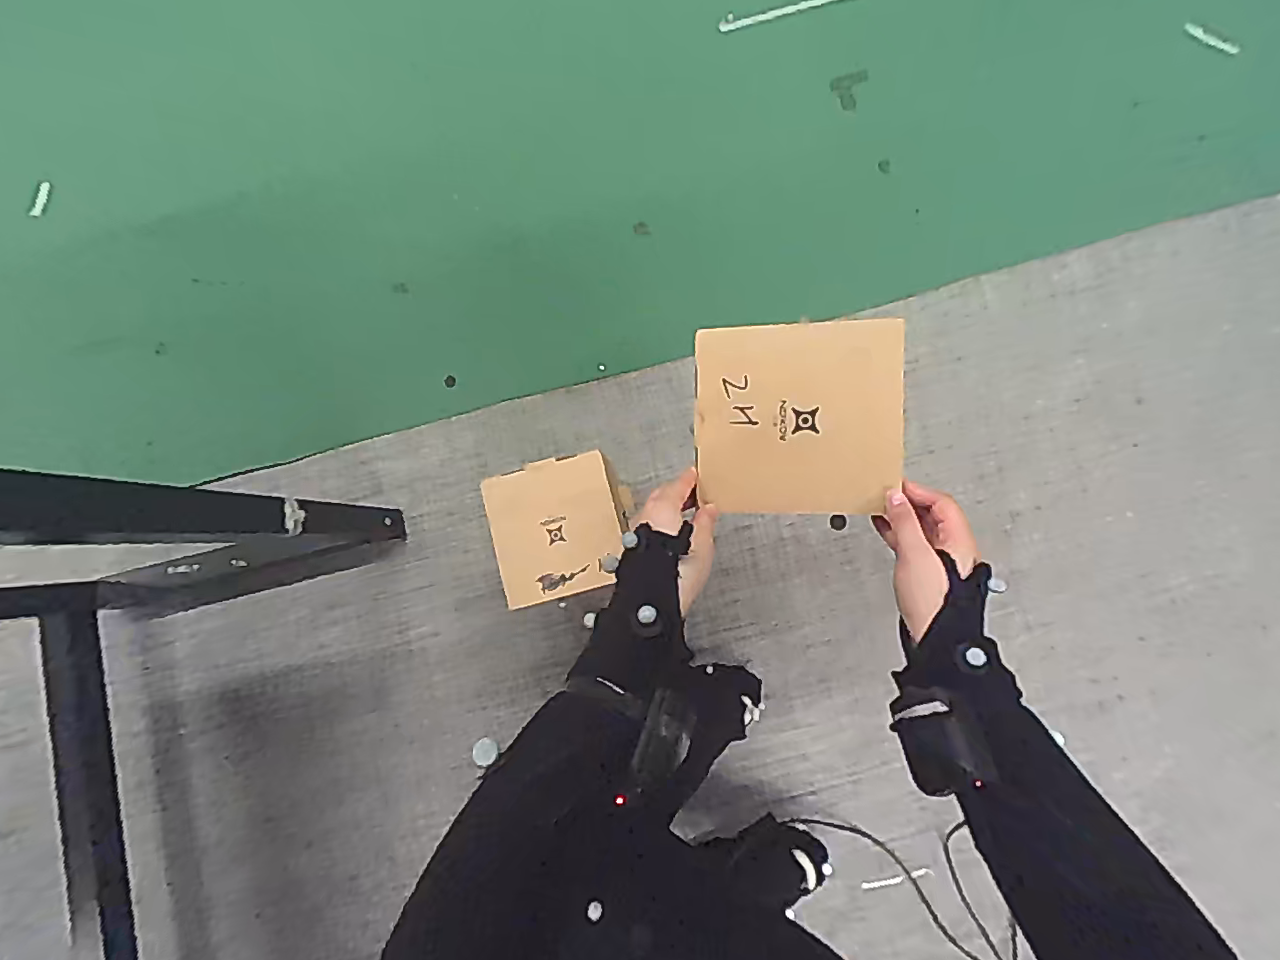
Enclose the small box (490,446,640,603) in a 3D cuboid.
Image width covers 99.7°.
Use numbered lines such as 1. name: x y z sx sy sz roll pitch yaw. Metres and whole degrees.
1. small box: -0.098 0.067 0.772 0.168 0.176 0.179 -14 83 0
